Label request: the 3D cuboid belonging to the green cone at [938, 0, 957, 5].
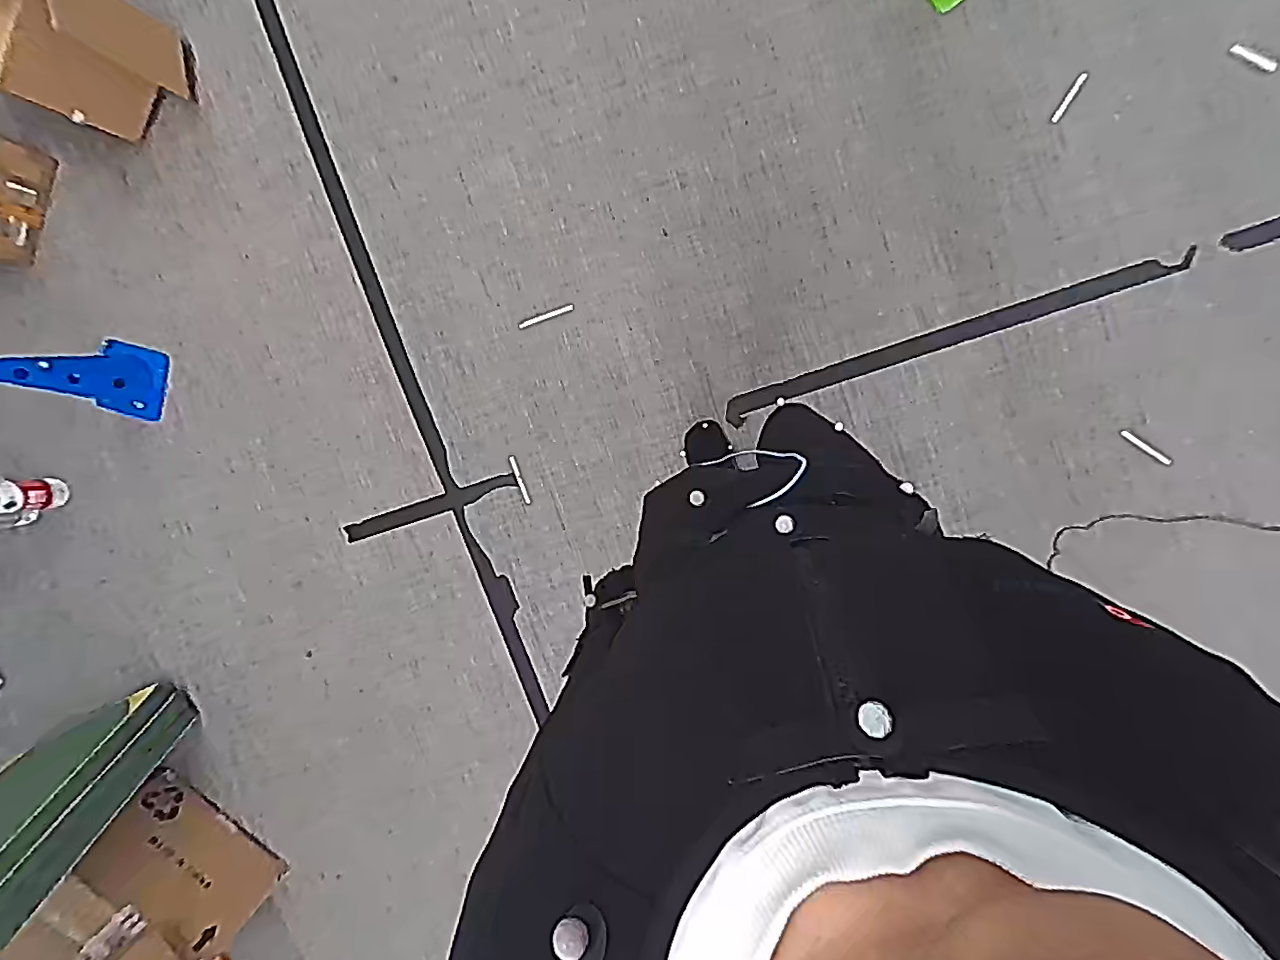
[{"bbox_3d":[0.724,-1.217,1.079,0.202,0.368,0.200,-35,93,6],"label":"green cone"}]
